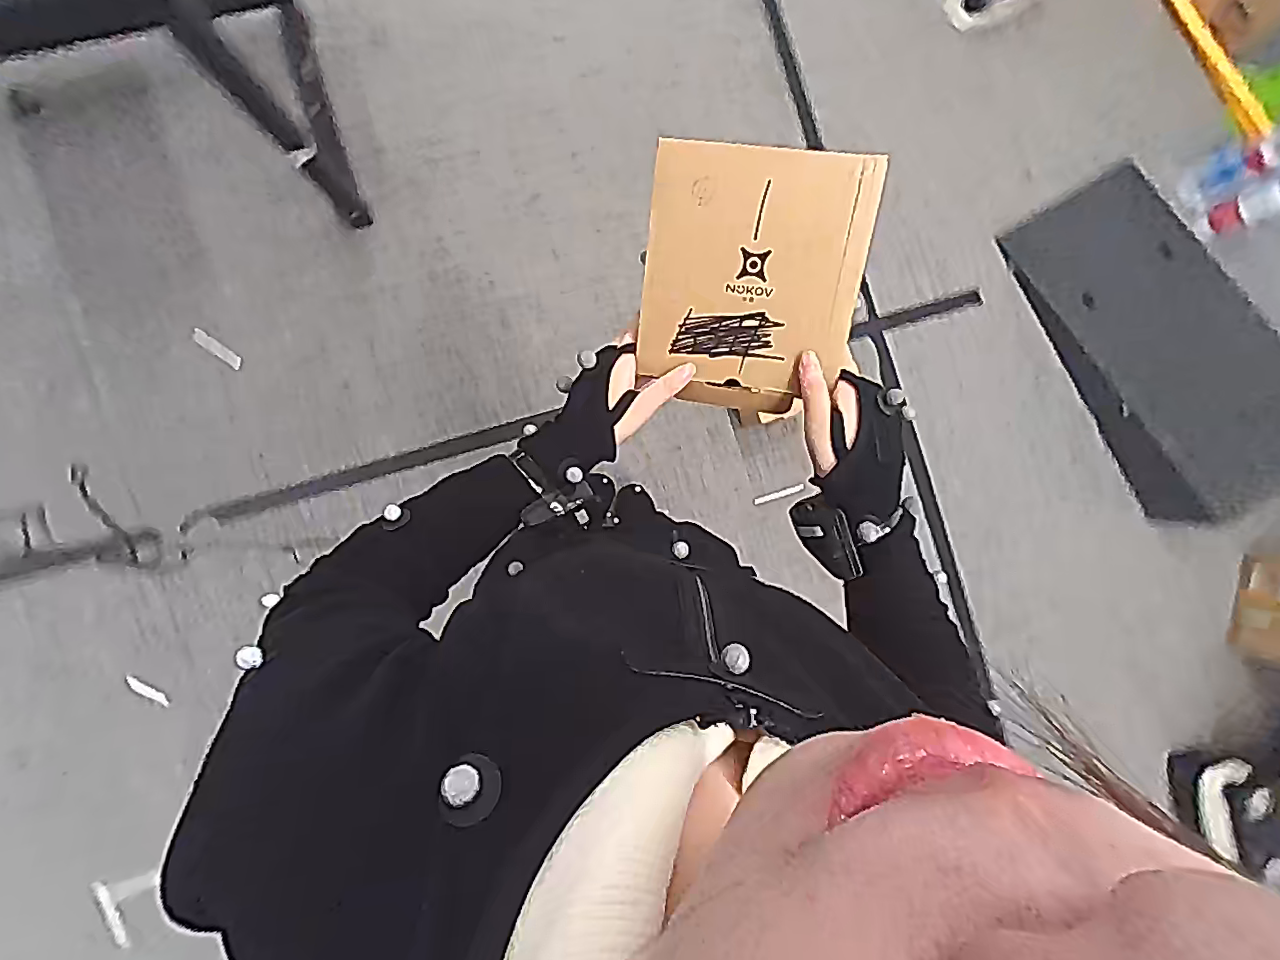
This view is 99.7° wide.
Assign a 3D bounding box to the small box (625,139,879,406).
[{"bbox_3d":[0.087,-0.176,0.475,0.168,0.176,0.179,7,110,6],"label":"small box"}]

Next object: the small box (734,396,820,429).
[{"bbox_3d":[0.351,-0.240,1.439,0.168,0.176,0.179,-17,93,-5],"label":"small box"}]
